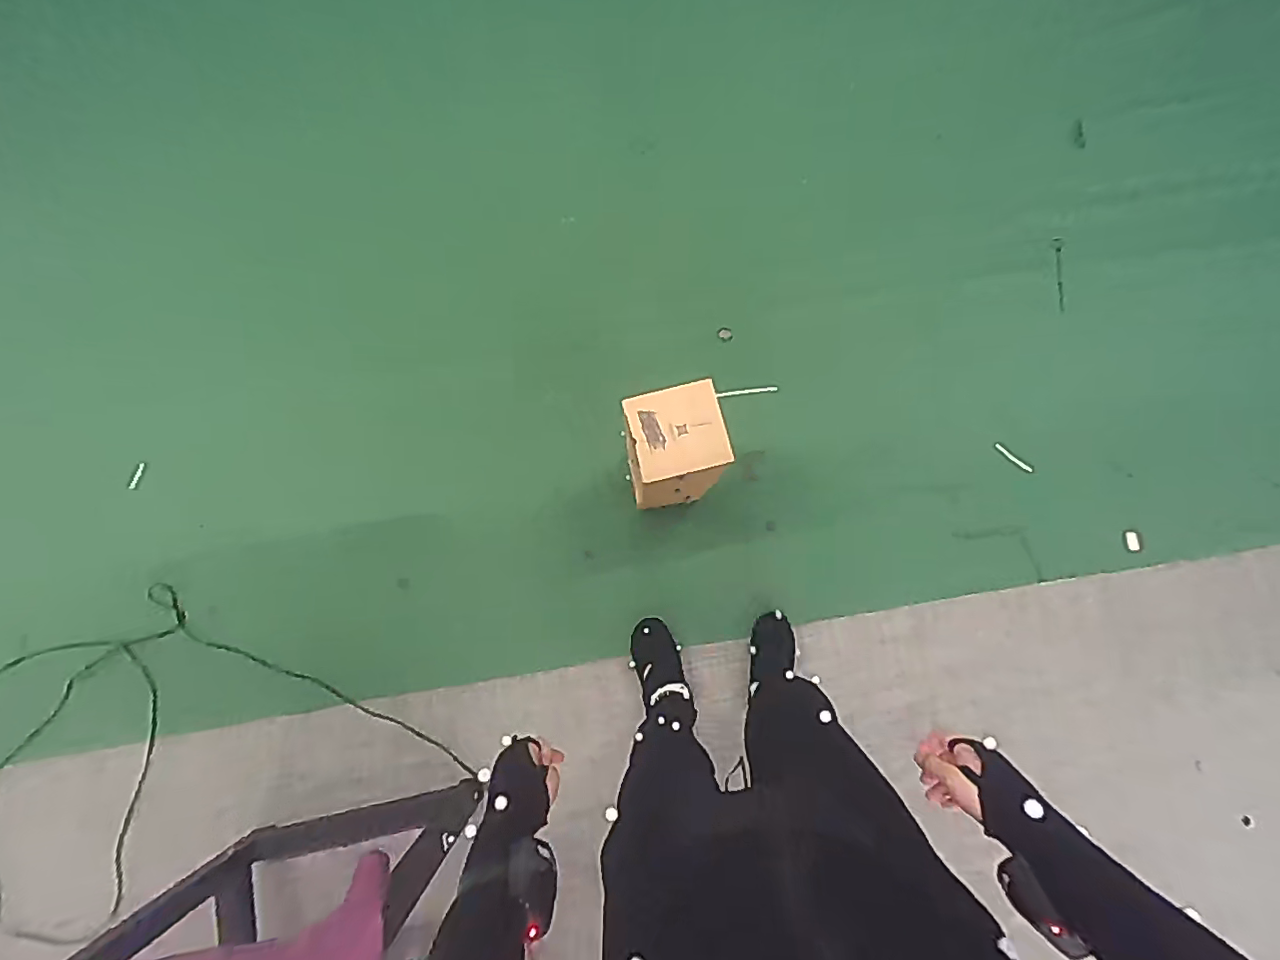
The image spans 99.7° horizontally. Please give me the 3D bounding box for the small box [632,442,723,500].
[{"bbox_3d":[0.079,-0.056,1.237,0.179,0.176,0.168,-12,82,0],"label":"small box"}]

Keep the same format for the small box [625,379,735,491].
[{"bbox_3d":[0.074,-0.081,1.075,0.179,0.176,0.168,-13,82,-2],"label":"small box"}]

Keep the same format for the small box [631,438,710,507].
[{"bbox_3d":[0.073,-0.028,1.397,0.179,0.176,0.168,-9,81,-1],"label":"small box"}]
